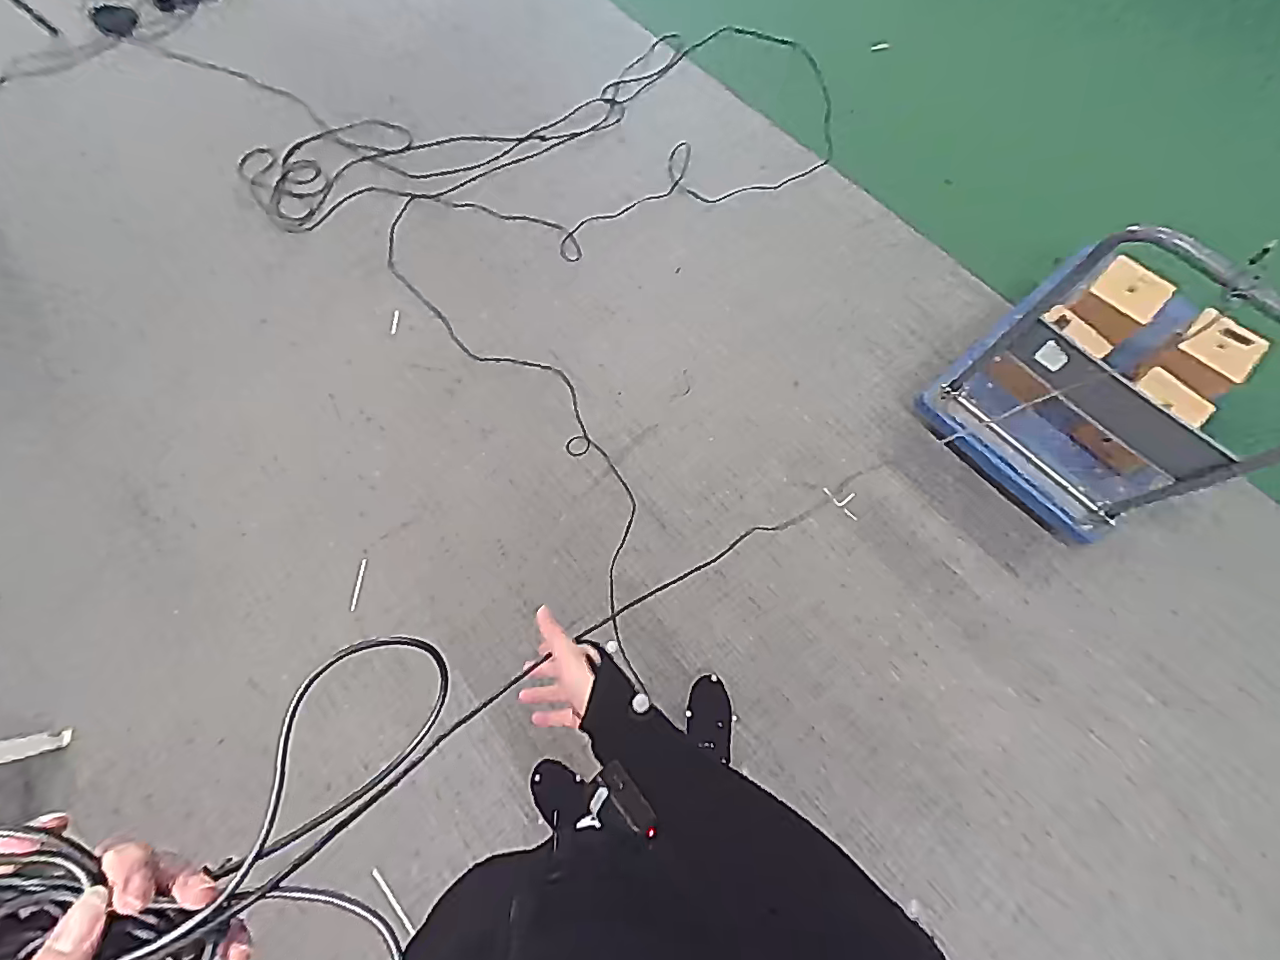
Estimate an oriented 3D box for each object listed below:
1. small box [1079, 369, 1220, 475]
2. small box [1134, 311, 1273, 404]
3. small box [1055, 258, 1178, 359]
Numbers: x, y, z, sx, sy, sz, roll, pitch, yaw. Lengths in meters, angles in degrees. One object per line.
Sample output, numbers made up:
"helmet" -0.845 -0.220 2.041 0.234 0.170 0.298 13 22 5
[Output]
"small box" 1.302 -0.145 1.399 0.179 0.176 0.168 -38 73 -12
"small box" 1.507 -0.311 1.459 0.179 0.176 0.168 -43 73 -13
"small box" 1.329 -0.476 1.525 0.179 0.176 0.168 -43 75 -14
